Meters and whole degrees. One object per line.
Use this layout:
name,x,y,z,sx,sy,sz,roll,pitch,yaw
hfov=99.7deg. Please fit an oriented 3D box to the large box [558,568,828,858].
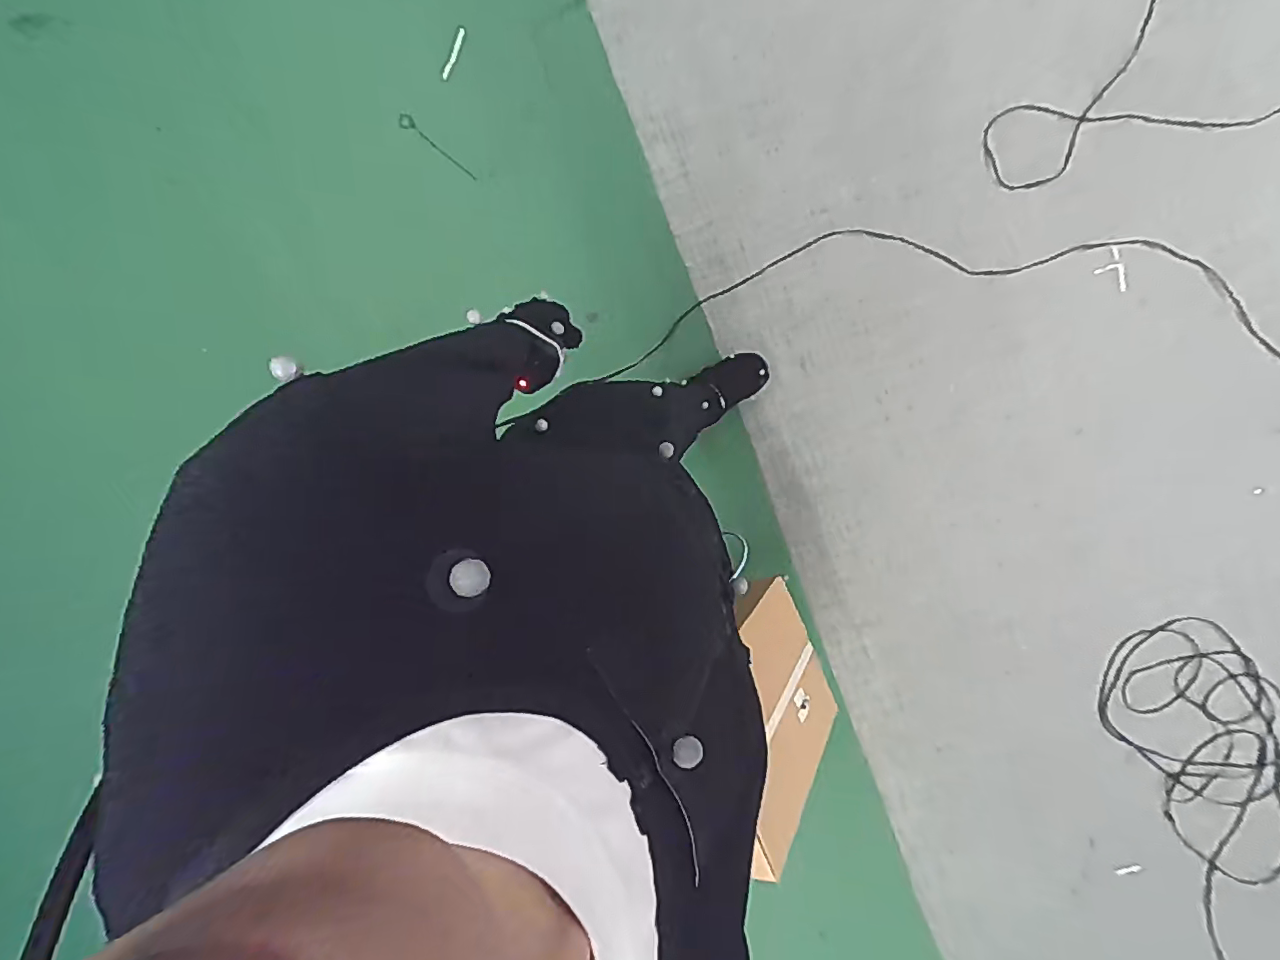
large box,0.119,0.417,1.039,0.320,0.408,0.320,-19,96,35
